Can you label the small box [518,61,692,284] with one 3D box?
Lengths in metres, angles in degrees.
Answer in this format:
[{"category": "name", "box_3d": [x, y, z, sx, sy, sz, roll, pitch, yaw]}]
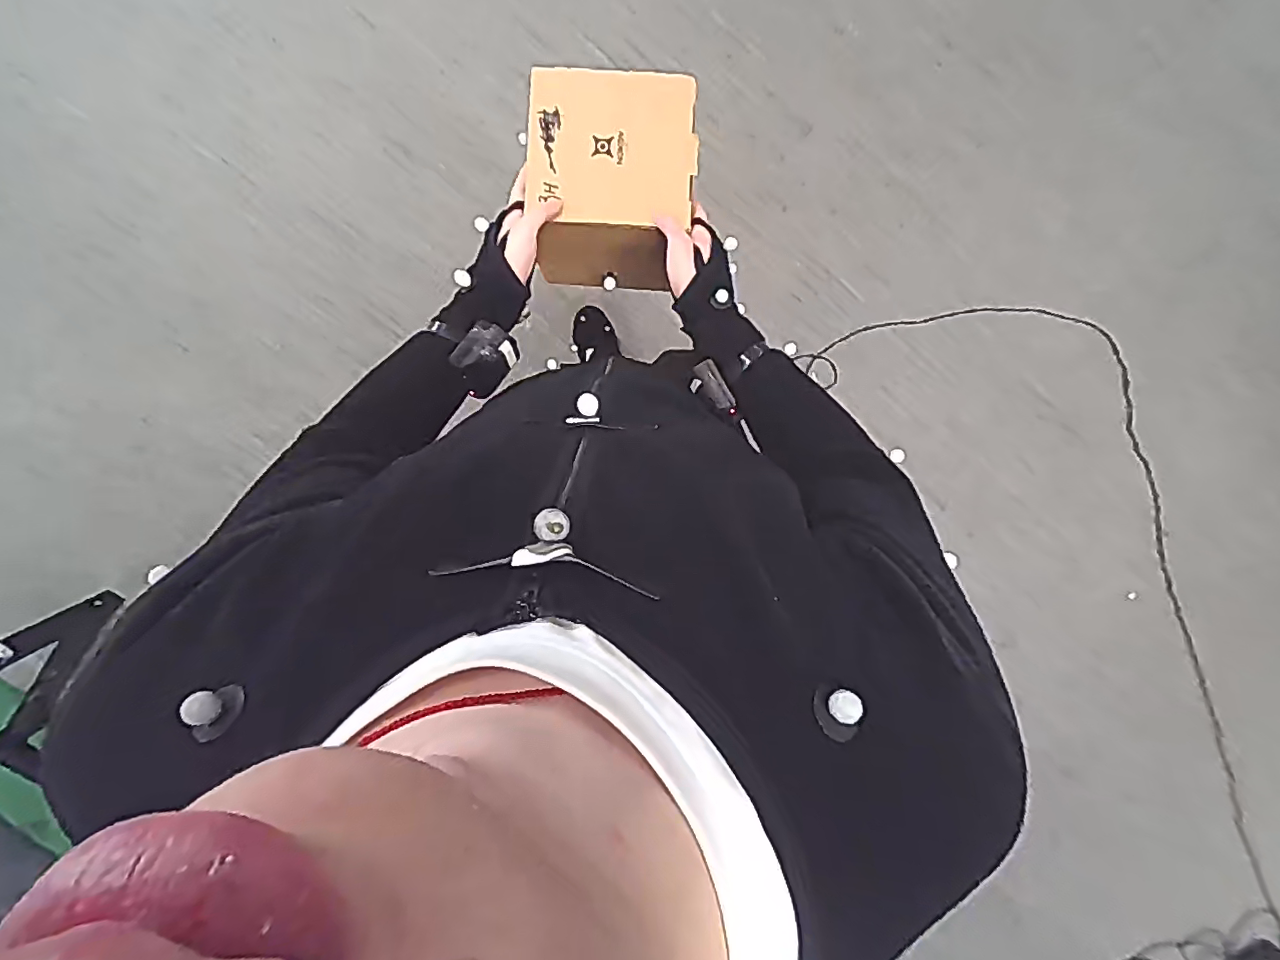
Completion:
[{"category": "small box", "box_3d": [-0.041, -0.346, 0.643, 0.179, 0.176, 0.168, 3, 88, -3]}]
